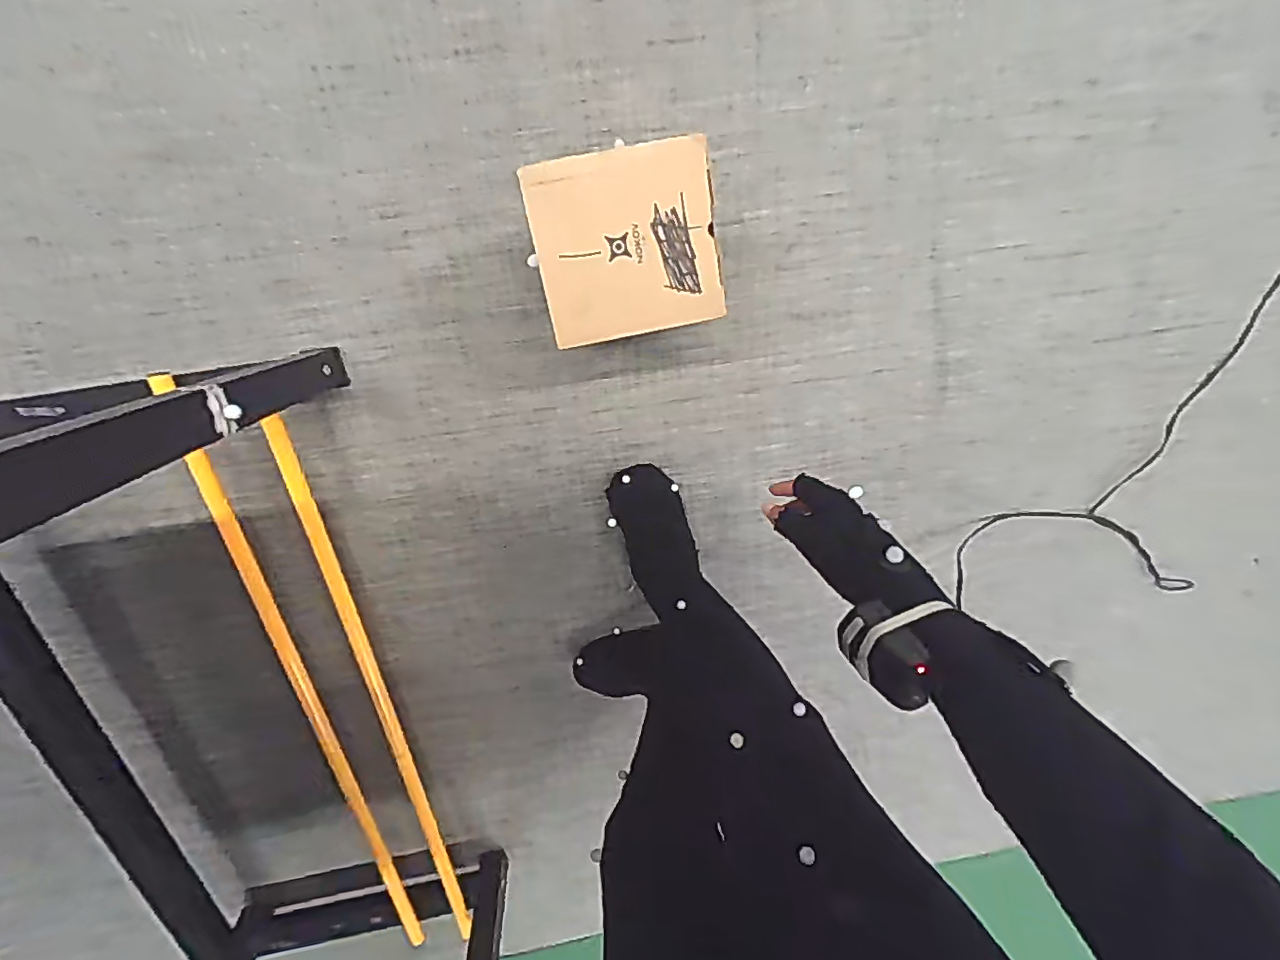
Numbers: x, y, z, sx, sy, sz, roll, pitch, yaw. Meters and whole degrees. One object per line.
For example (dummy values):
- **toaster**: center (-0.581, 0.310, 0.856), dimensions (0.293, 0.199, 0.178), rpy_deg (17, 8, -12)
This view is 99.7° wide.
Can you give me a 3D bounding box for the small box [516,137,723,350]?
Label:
- **small box**: center (-0.022, -0.248, 0.583), dimensions (0.179, 0.176, 0.168), rpy_deg (-11, 112, -1)
